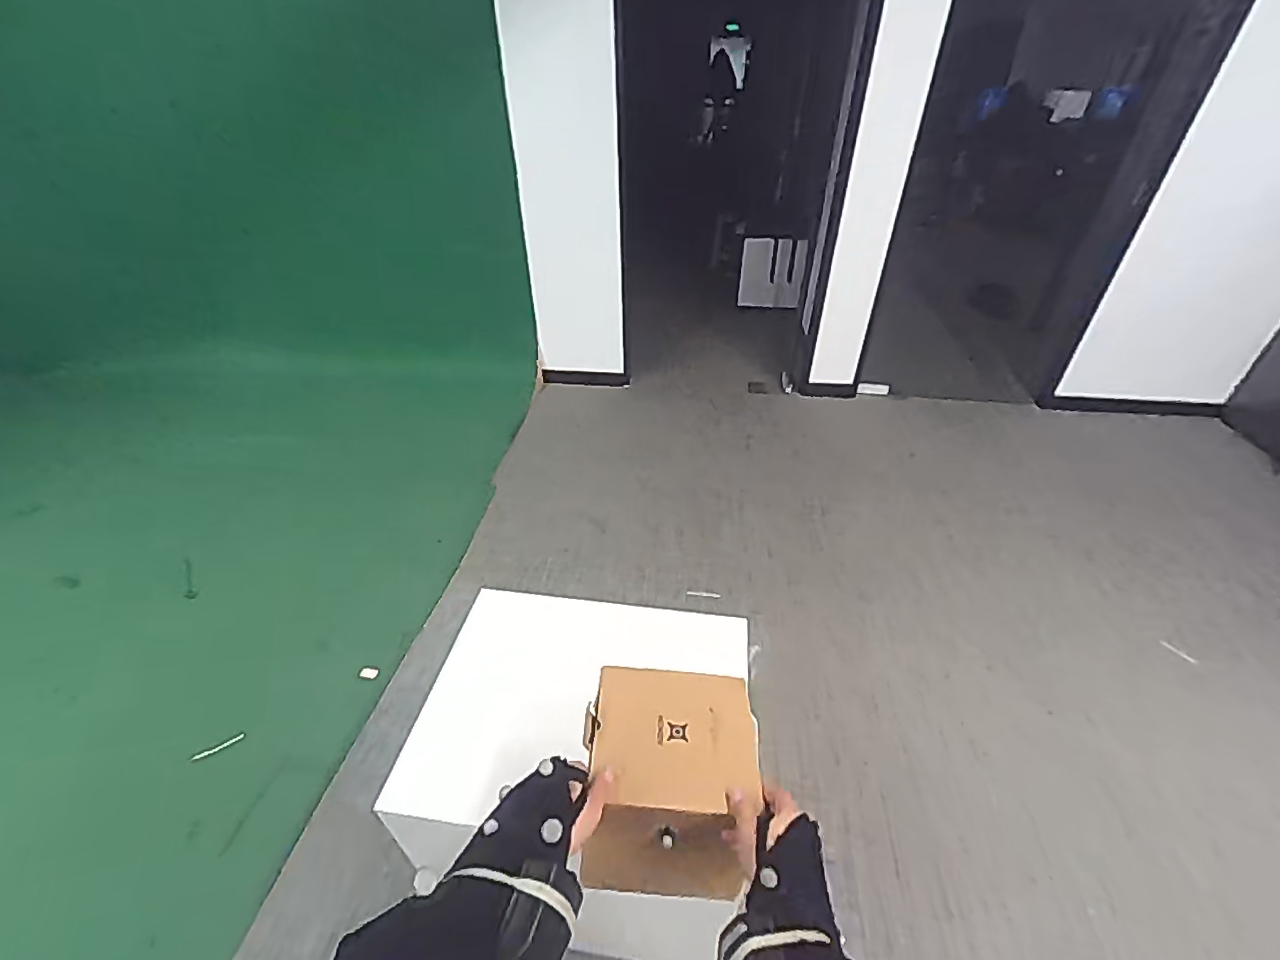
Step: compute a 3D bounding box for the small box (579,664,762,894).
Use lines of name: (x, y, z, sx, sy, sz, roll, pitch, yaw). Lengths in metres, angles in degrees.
small box: (0.027, 0.337, 0.617, 0.179, 0.176, 0.168, 6, 30, -1)
